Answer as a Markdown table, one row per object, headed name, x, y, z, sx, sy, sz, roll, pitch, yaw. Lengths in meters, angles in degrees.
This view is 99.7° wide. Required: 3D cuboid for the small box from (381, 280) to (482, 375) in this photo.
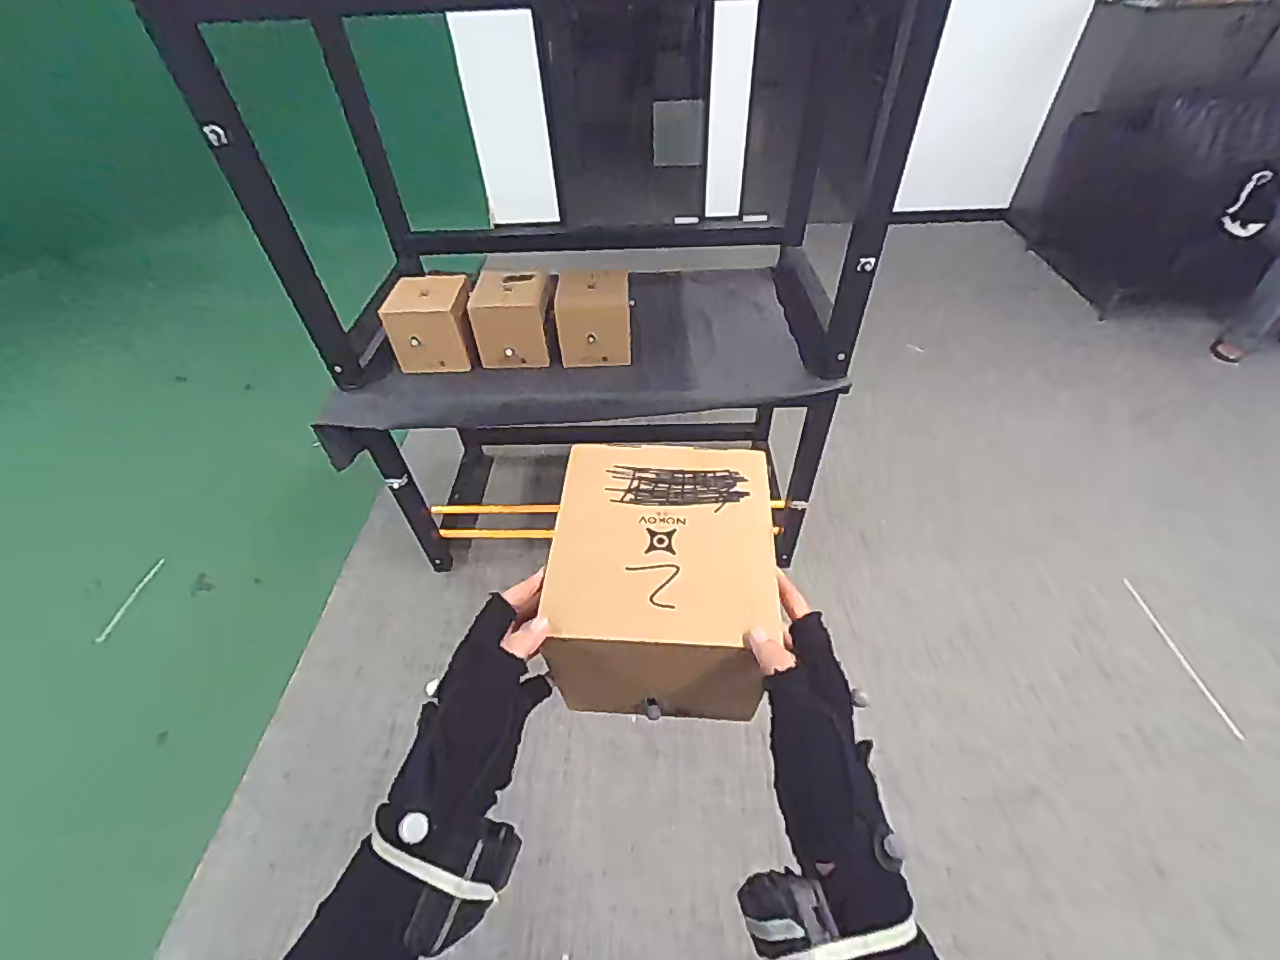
| name | x | y | z | sx | sy | sz | roll | pitch | yaw |
| --- | --- | --- | --- | --- | --- | --- | --- | --- | --- |
| small box | -0.497 | -0.369 | 1.321 | 0.168 | 0.176 | 0.179 | -1 | 45 | 1 |
